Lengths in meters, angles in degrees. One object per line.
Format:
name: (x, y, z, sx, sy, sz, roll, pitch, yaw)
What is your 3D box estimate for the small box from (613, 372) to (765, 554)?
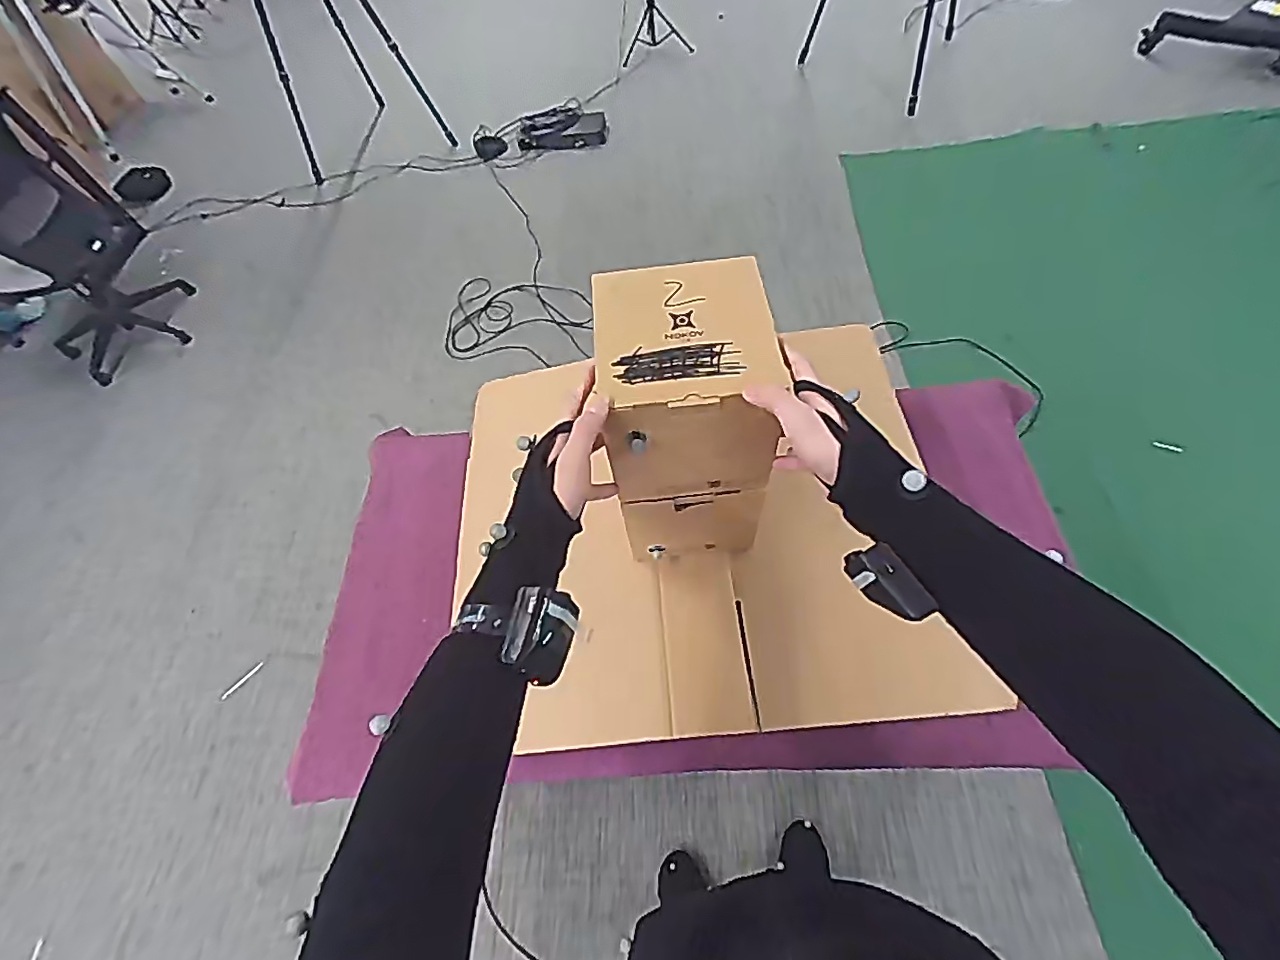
small box: (0.059, -0.012, 0.701, 0.168, 0.176, 0.179, -6, 59, 2)
